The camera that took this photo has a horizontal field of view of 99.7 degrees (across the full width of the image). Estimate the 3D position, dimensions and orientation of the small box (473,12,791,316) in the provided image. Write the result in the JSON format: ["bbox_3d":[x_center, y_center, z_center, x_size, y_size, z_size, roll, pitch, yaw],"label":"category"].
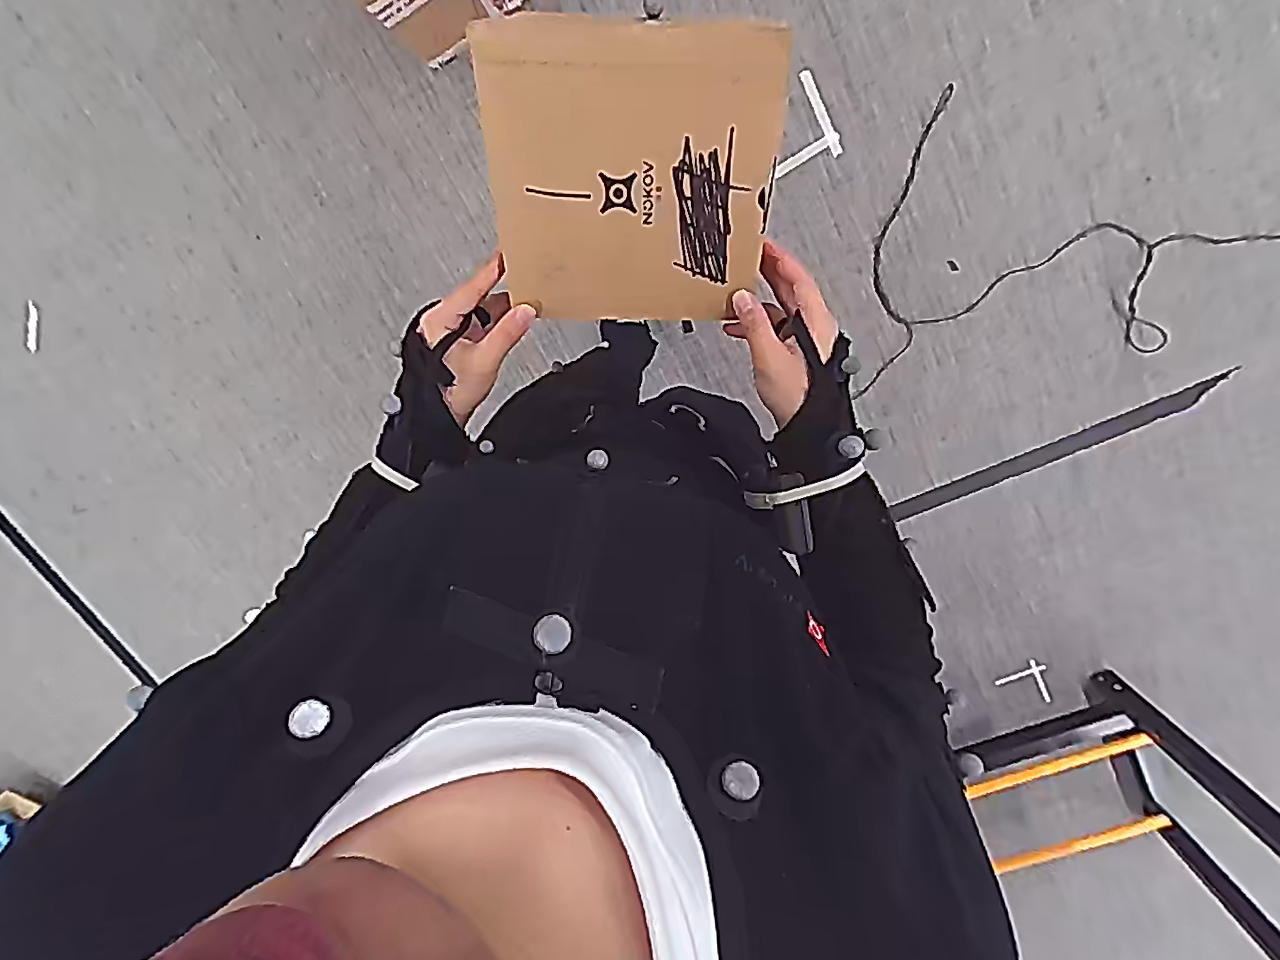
[{"bbox_3d":[-0.005,-0.237,0.402,0.179,0.176,0.168,1,131,1],"label":"small box"}]
